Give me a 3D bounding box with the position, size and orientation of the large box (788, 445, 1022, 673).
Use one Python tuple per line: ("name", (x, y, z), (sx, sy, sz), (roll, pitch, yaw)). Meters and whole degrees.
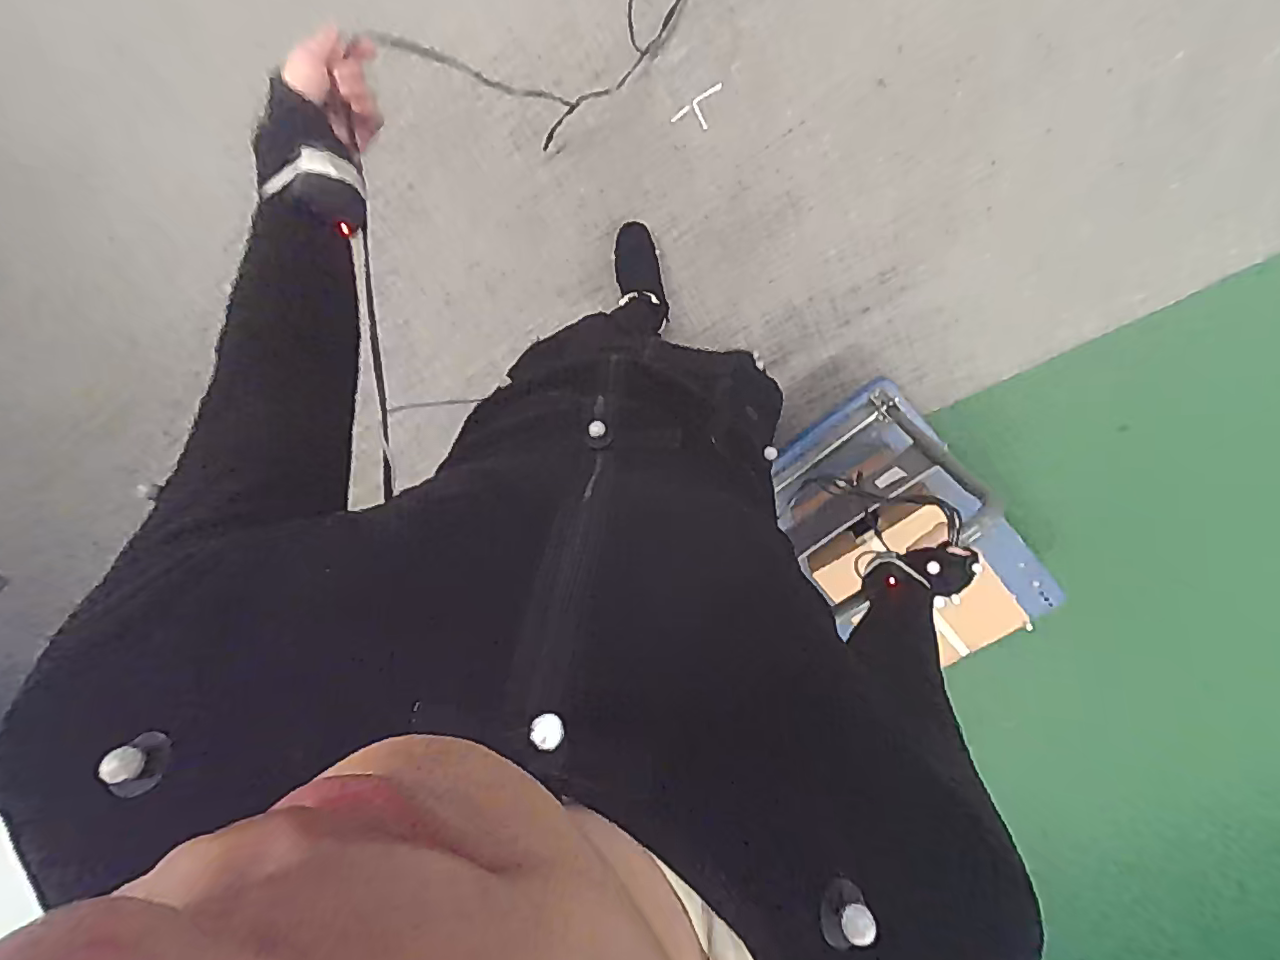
("large box", (0.635, 0.190, 1.360), (0.320, 0.320, 0.408), (-37, 107, 20))
